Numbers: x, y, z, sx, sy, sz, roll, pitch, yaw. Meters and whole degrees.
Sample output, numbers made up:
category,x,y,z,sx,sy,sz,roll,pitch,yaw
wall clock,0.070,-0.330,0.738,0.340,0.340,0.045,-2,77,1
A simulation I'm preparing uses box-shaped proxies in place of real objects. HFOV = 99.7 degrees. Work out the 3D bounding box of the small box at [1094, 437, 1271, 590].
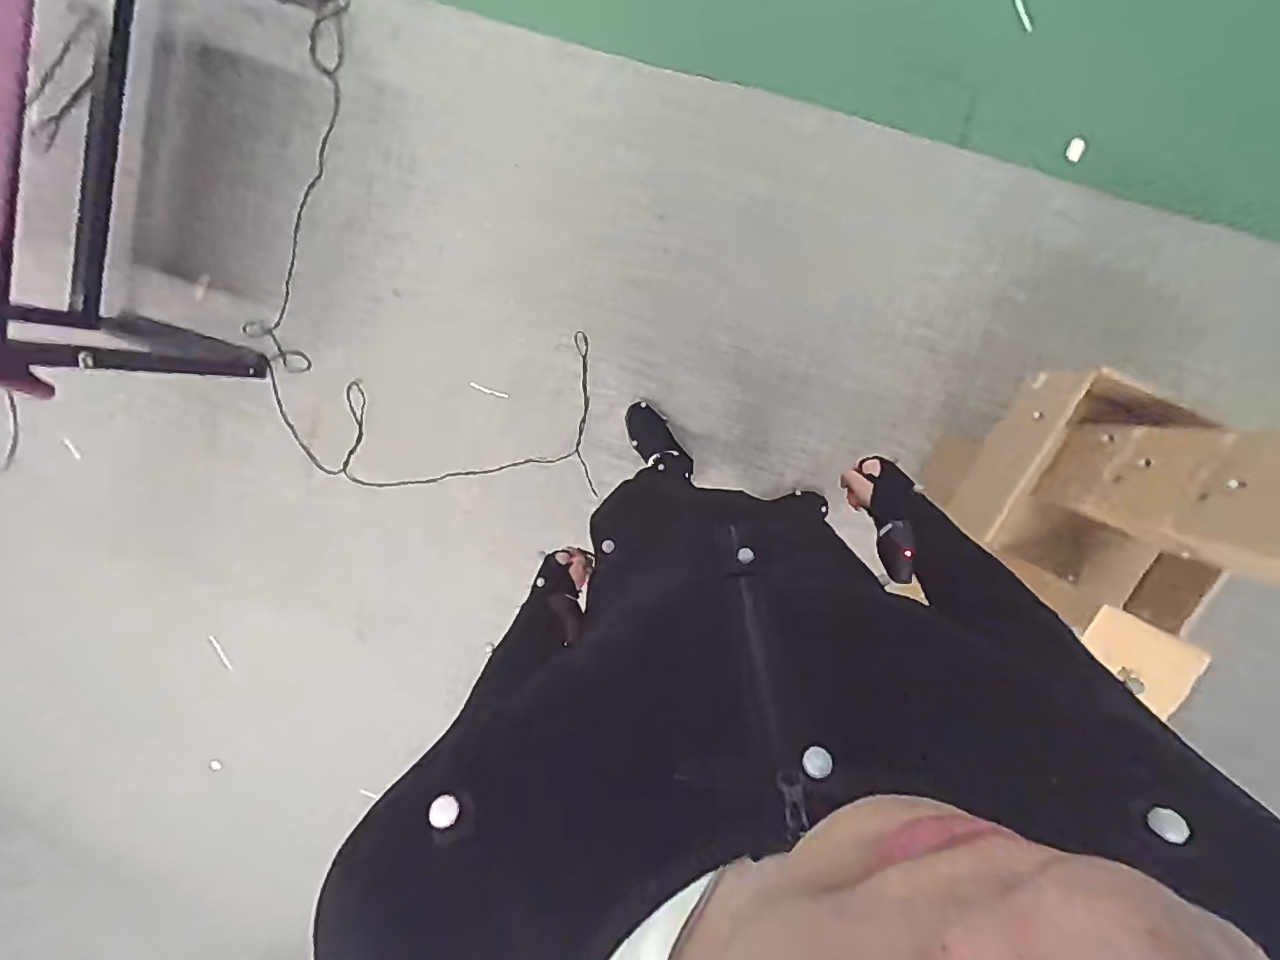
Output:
category,x,y,z,sx,sy,sz,roll,pitch,yaw
small box,0.896,0.040,0.856,0.179,0.176,0.168,28,101,3

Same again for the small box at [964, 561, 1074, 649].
category,x,y,z,sx,sy,sz,roll,pitch,yaw
small box,0.788,0.277,1.067,0.179,0.176,0.168,28,101,3

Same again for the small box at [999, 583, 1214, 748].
category,x,y,z,sx,sy,sz,roll,pitch,yaw
small box,0.762,0.297,0.907,0.179,0.176,0.168,28,100,4

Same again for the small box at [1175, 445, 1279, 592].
category,x,y,z,sx,sy,sz,roll,pitch,yaw
small box,0.878,0.064,0.694,0.179,0.176,0.168,29,100,3
